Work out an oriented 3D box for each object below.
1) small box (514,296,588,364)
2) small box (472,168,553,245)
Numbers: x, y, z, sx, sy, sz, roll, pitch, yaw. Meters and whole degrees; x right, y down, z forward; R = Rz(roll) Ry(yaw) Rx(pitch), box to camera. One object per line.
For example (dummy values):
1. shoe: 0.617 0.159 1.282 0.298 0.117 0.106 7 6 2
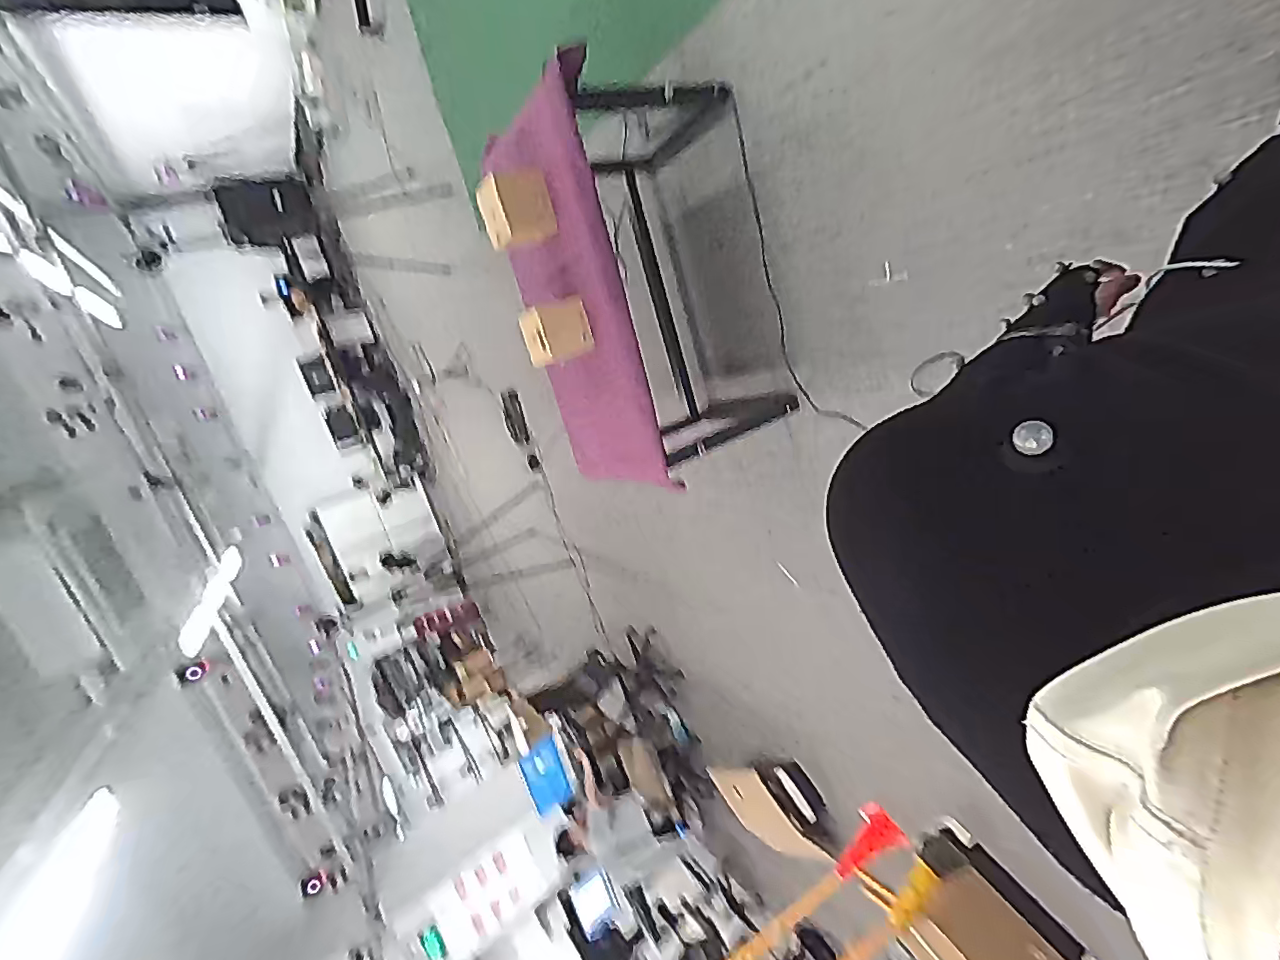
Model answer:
1. small box: -0.290 -0.499 1.797 0.179 0.176 0.168 6 116 58
2. small box: -0.399 -0.861 1.700 0.168 0.176 0.179 7 118 57
